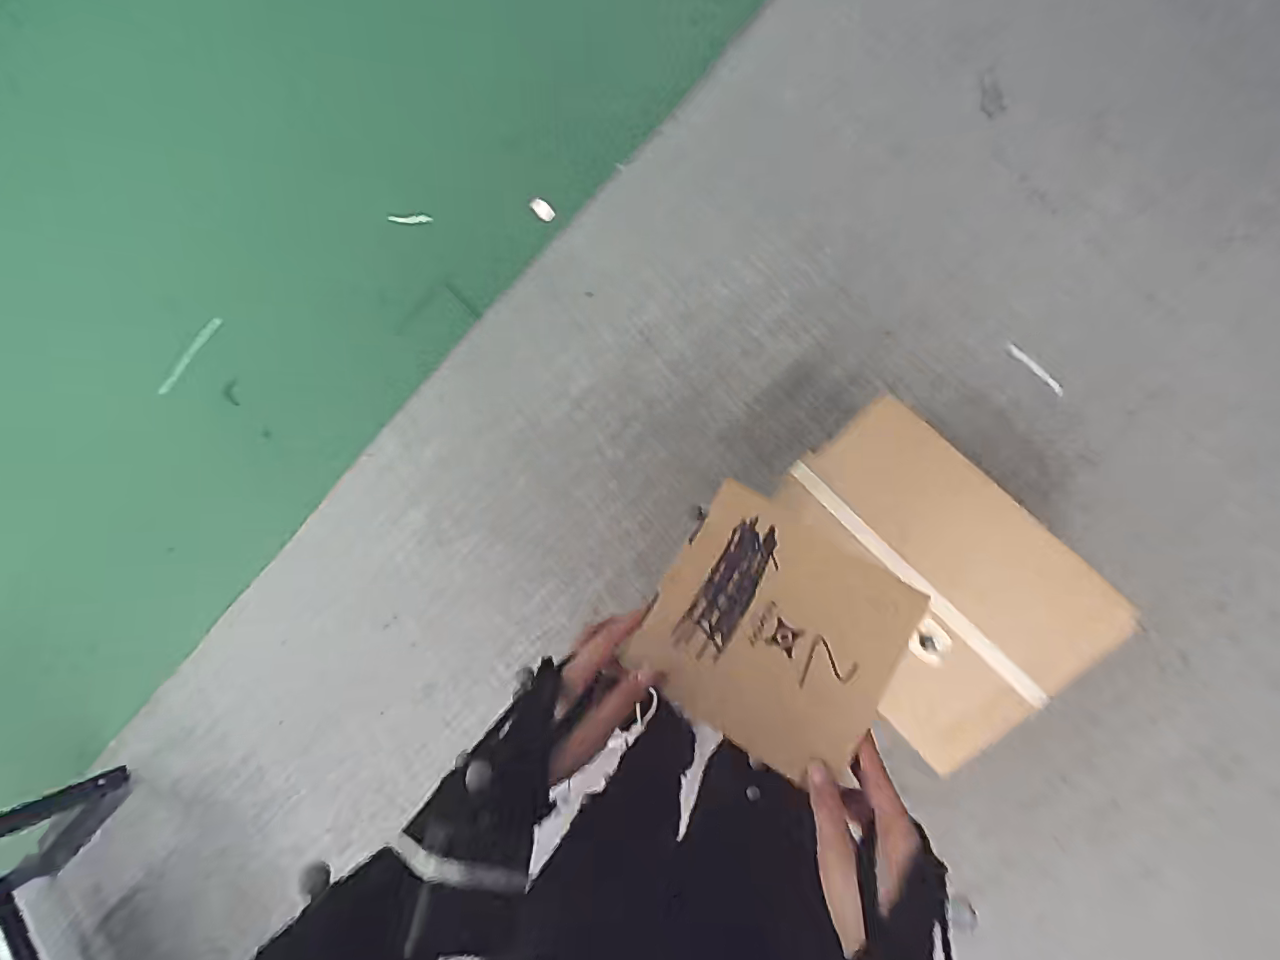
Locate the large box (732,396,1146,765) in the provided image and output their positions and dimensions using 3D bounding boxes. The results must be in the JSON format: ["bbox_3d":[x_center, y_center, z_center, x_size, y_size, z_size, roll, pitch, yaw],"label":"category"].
[{"bbox_3d":[0.408,0.130,0.855,0.320,0.320,0.408,-46,77,12],"label":"large box"}]
